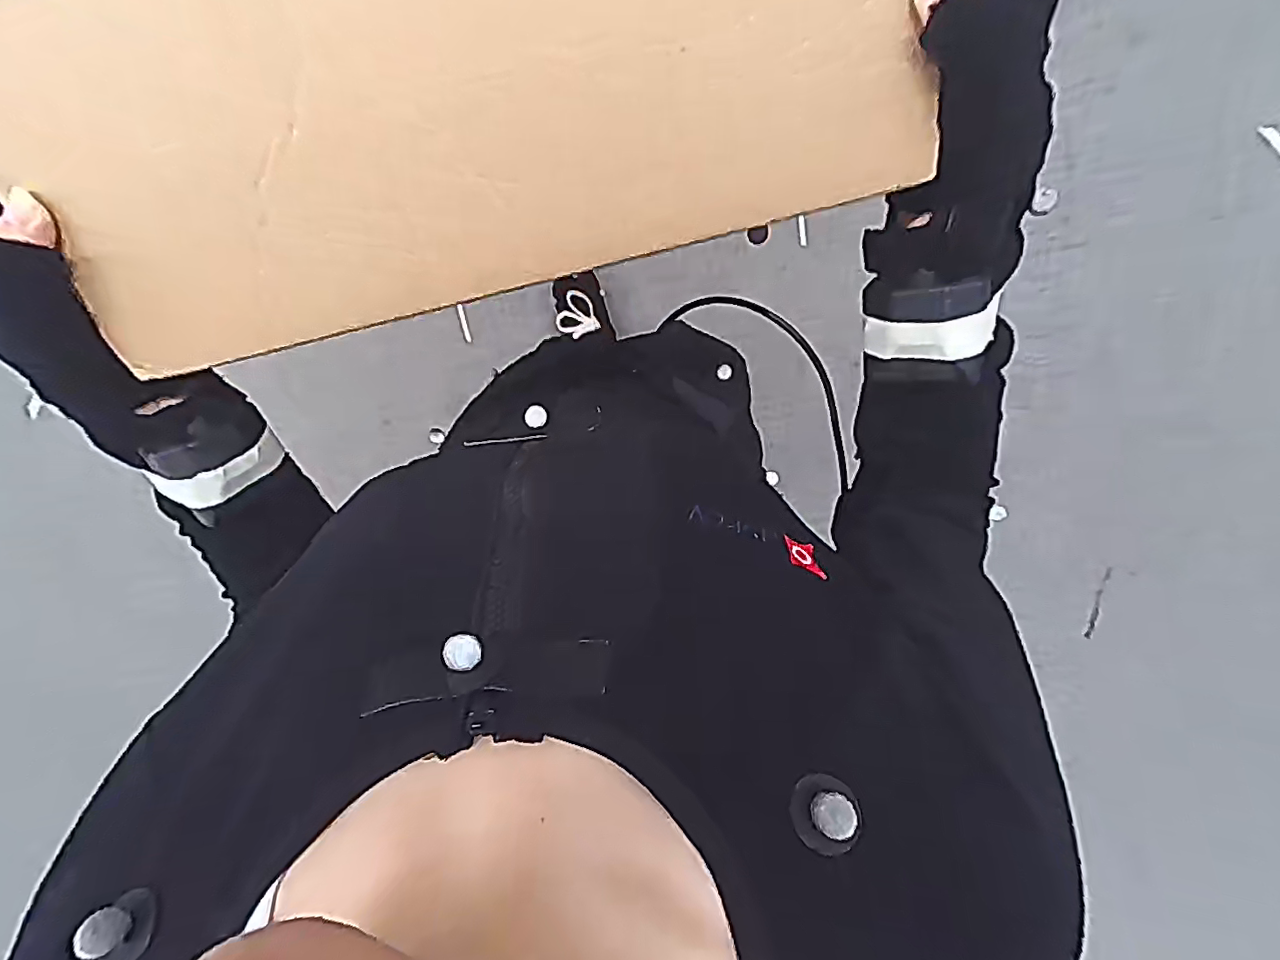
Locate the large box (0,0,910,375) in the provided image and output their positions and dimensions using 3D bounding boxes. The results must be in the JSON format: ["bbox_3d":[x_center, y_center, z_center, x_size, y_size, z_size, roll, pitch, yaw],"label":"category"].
[{"bbox_3d":[-0.104,-0.303,0.328,0.408,0.320,0.320,-13,119,4],"label":"large box"}]
